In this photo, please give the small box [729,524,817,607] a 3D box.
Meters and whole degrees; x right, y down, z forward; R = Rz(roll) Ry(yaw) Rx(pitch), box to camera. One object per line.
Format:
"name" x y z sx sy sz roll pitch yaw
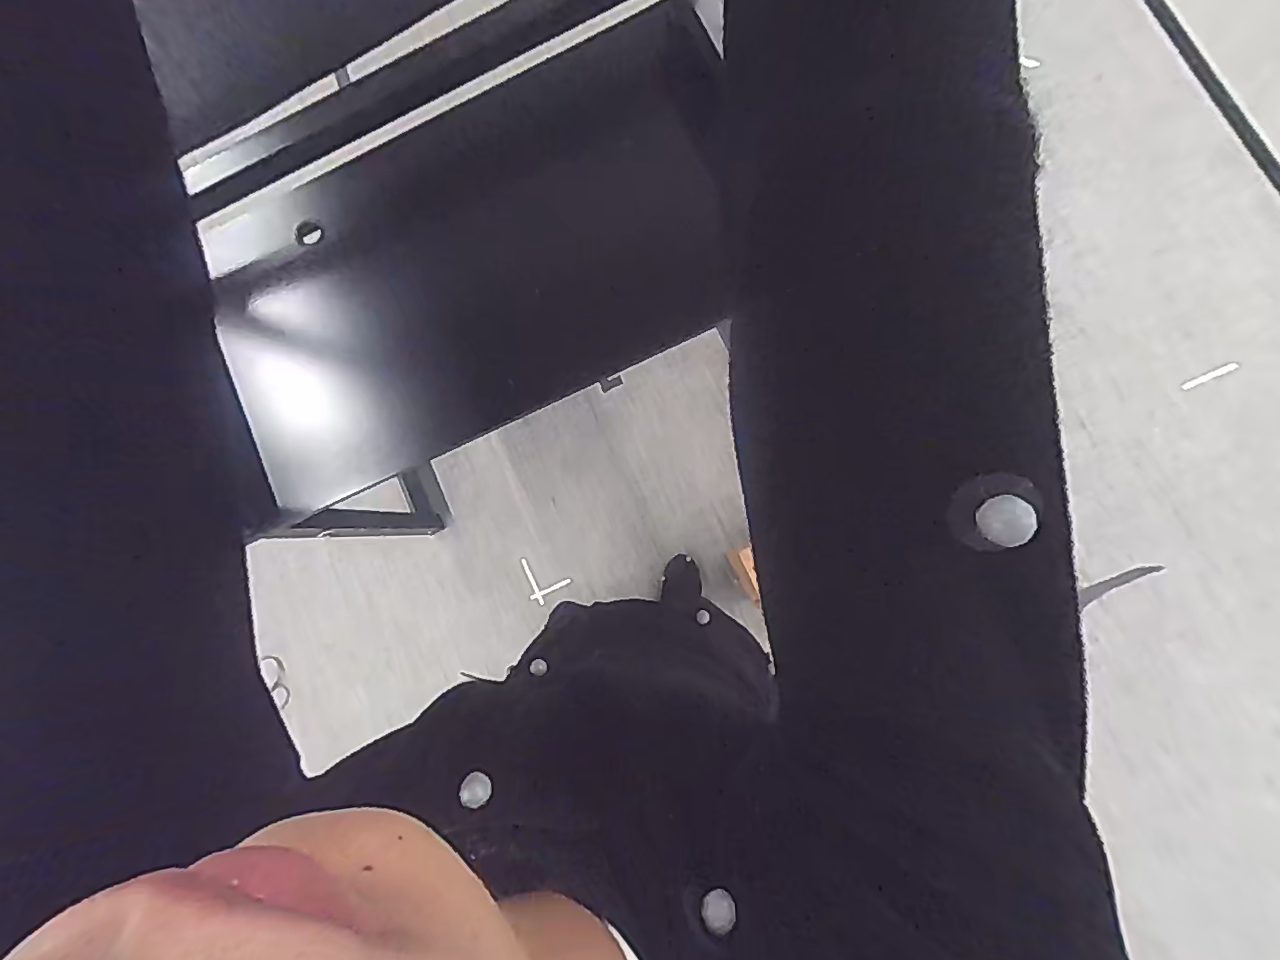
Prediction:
"small box" 0.361 0.230 1.499 0.179 0.176 0.168 -27 82 4
